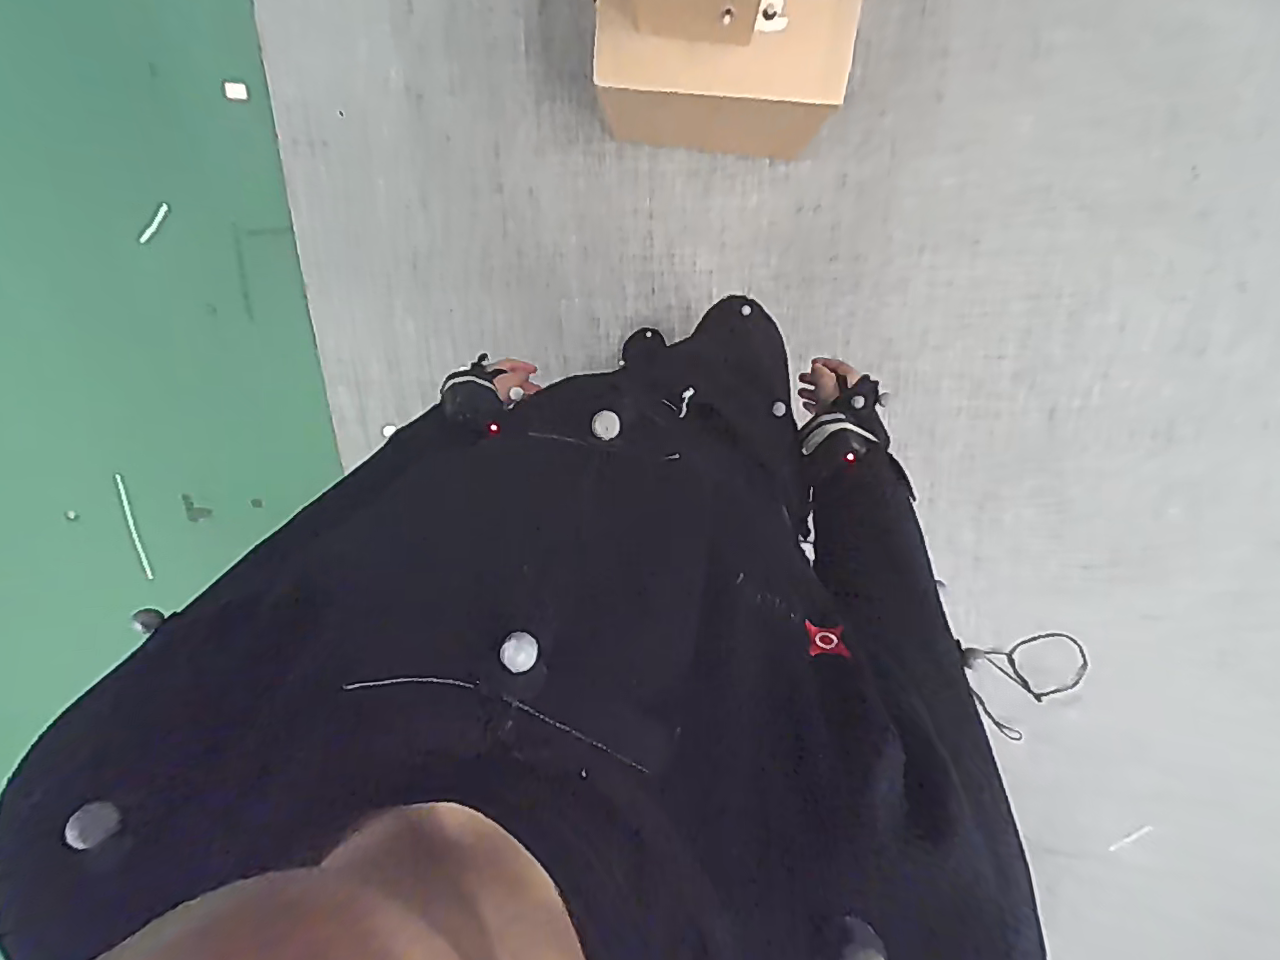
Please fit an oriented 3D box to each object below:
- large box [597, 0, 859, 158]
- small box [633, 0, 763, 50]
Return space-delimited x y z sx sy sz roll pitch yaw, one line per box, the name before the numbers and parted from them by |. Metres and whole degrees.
large box | 0.141 -0.796 0.963 0.408 0.320 0.320 5 108 1
small box | 0.086 -0.723 0.735 0.179 0.176 0.168 7 106 2
